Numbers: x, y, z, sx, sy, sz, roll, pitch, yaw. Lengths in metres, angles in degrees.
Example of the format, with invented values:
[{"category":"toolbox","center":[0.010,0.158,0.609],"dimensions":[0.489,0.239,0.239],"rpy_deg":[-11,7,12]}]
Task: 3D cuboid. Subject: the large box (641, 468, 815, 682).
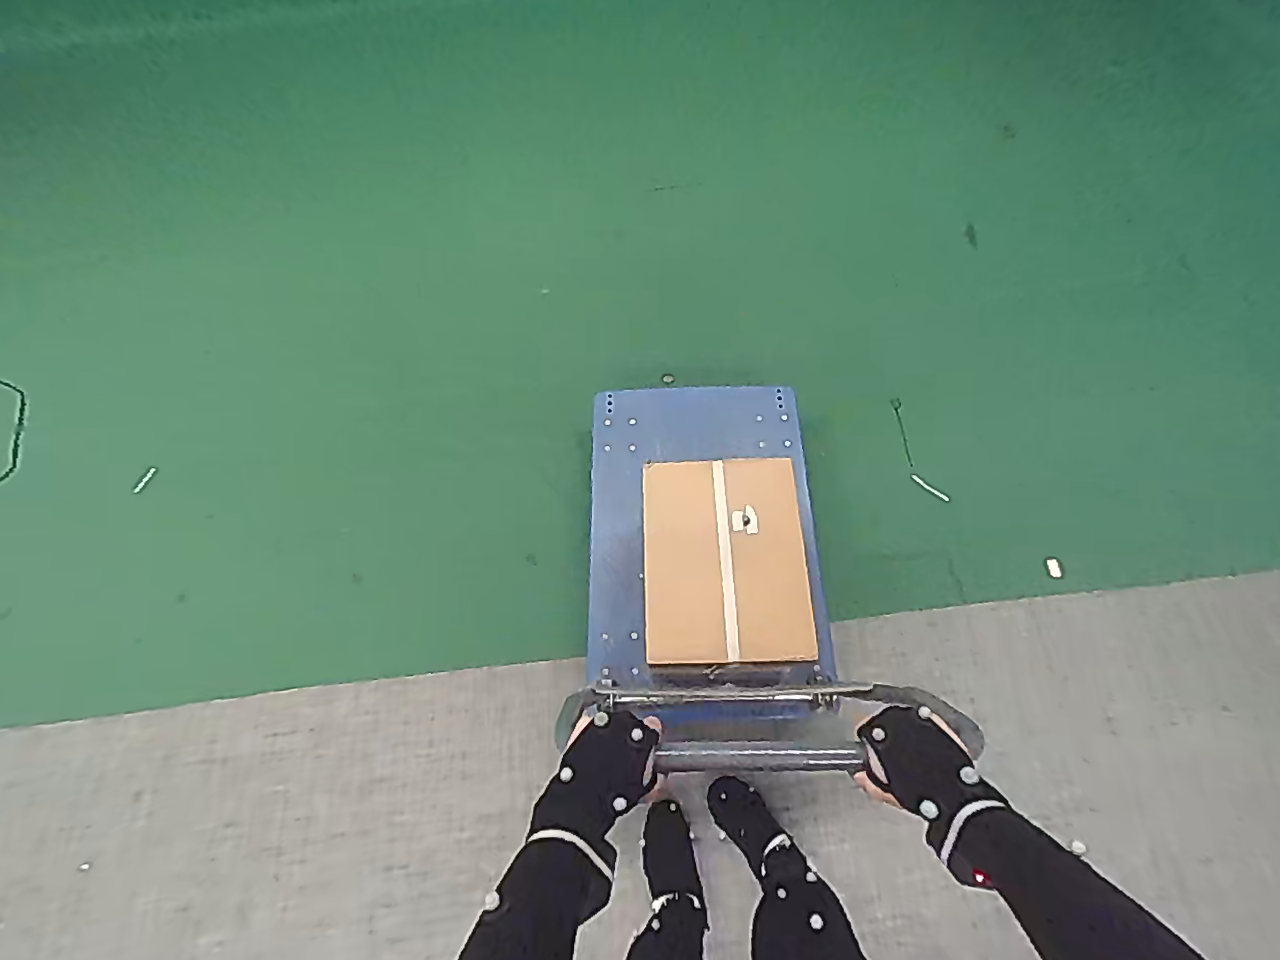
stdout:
[{"category":"large box","center":[0.170,0.224,1.202],"dimensions":[0.320,0.320,0.408],"rpy_deg":[-2,66,2]}]
